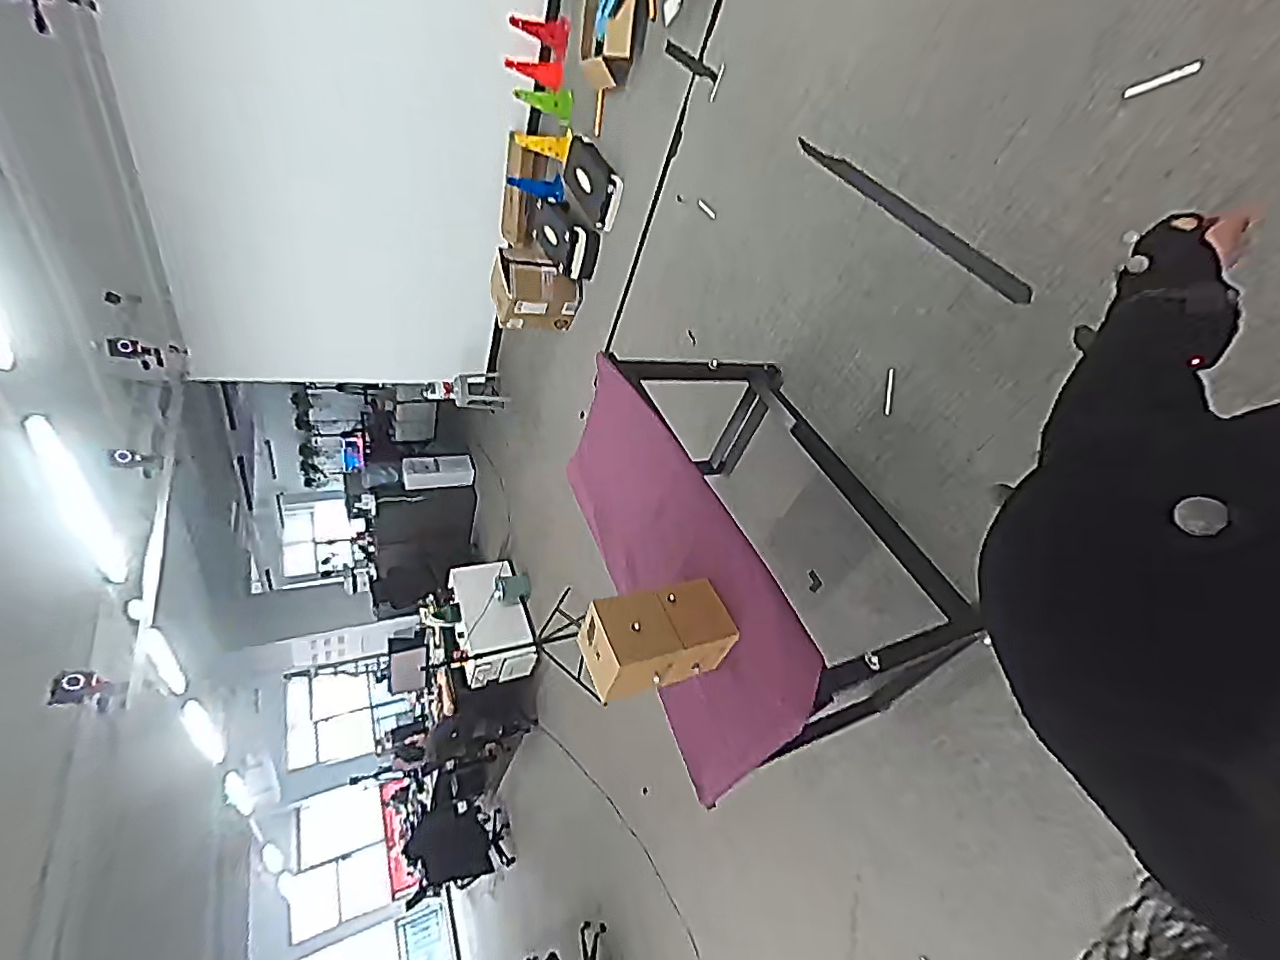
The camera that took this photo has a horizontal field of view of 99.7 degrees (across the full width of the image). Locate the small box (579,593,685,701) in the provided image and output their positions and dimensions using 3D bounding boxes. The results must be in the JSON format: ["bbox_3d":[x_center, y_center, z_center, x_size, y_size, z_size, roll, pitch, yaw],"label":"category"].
[{"bbox_3d":[-0.021,0.384,1.270,0.179,0.176,0.168,59,142,37],"label":"small box"}]

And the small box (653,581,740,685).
[{"bbox_3d":[0.121,0.376,1.353,0.179,0.176,0.168,60,142,38],"label":"small box"}]
